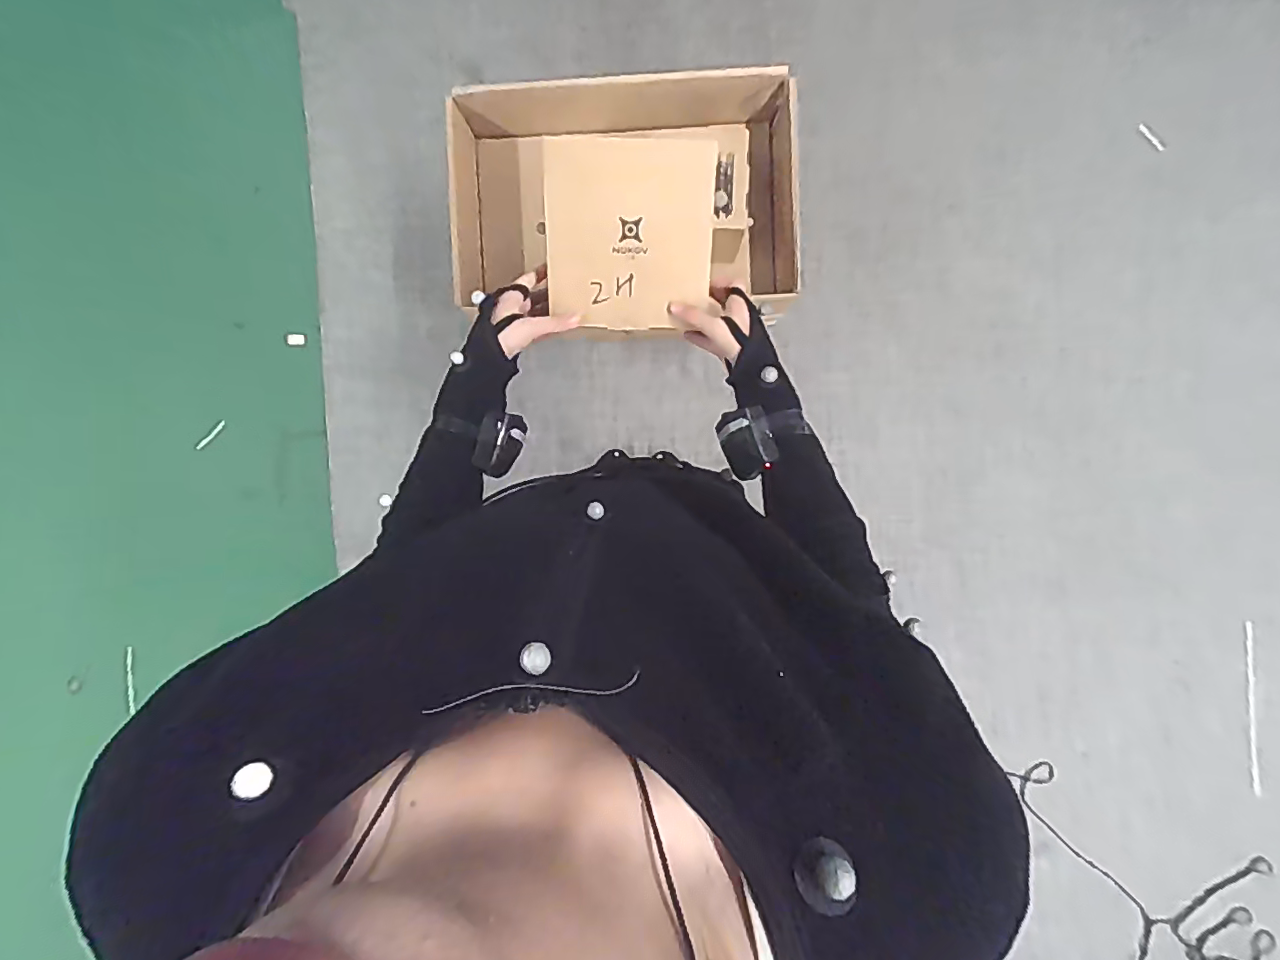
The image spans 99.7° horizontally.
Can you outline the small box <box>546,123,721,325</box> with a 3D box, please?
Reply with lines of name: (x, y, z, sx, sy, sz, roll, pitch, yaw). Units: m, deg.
small box: (-0.010, -0.272, 0.600, 0.168, 0.176, 0.179, 1, 112, -1)
